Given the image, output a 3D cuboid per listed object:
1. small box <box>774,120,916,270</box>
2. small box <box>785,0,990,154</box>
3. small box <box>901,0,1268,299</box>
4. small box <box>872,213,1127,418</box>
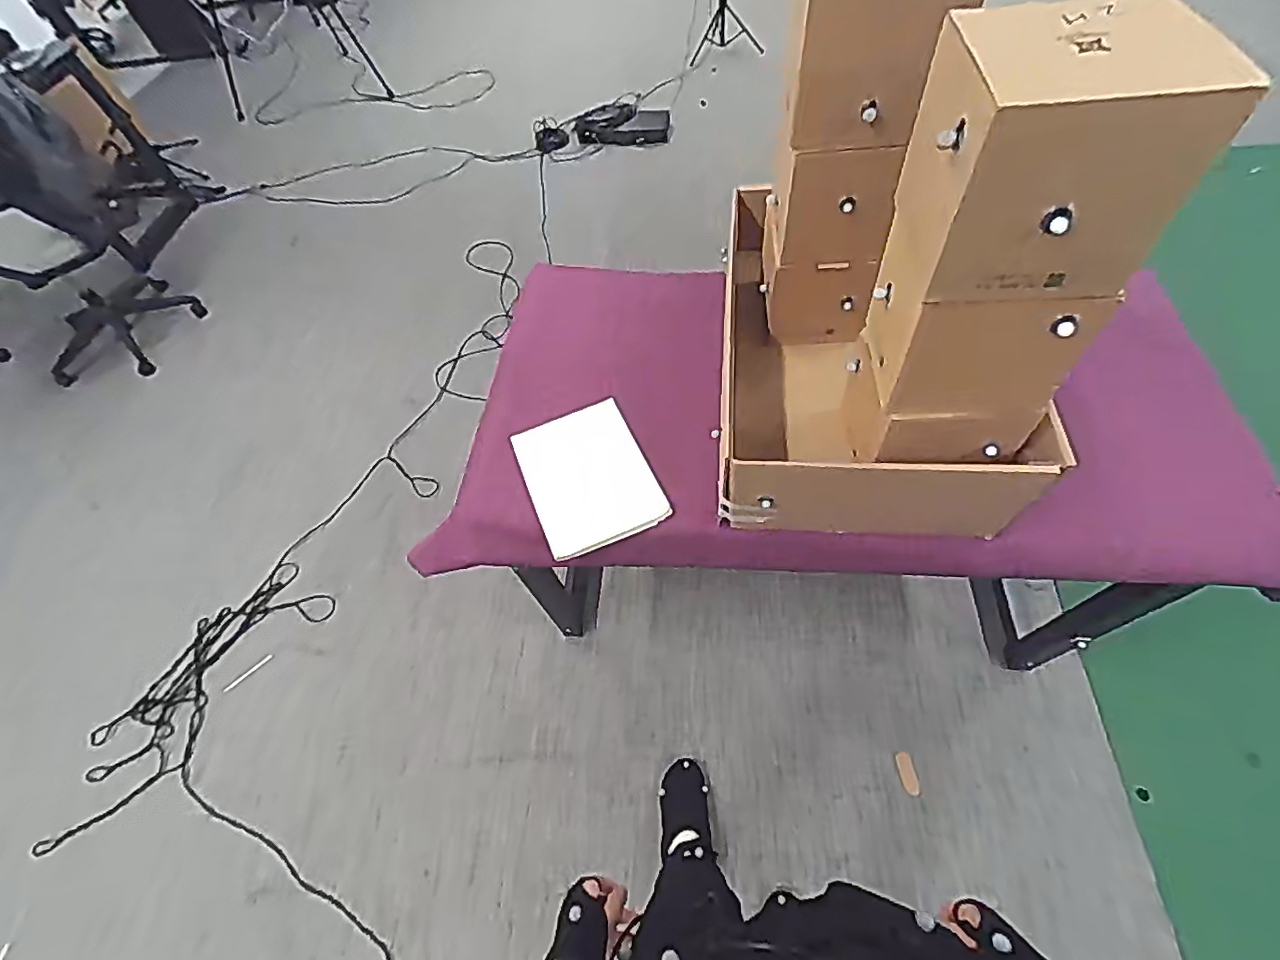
[{"bbox_3d":[0.295,-0.426,0.779,0.179,0.176,0.168,-1,58,7],"label":"small box"},{"bbox_3d":[0.276,-0.515,0.643,0.179,0.176,0.168,2,58,7],"label":"small box"},{"bbox_3d":[0.347,-0.276,0.474,0.168,0.176,0.179,2,56,9],"label":"small box"},{"bbox_3d":[0.373,-0.184,0.608,0.179,0.176,0.168,2,56,9],"label":"small box"}]
